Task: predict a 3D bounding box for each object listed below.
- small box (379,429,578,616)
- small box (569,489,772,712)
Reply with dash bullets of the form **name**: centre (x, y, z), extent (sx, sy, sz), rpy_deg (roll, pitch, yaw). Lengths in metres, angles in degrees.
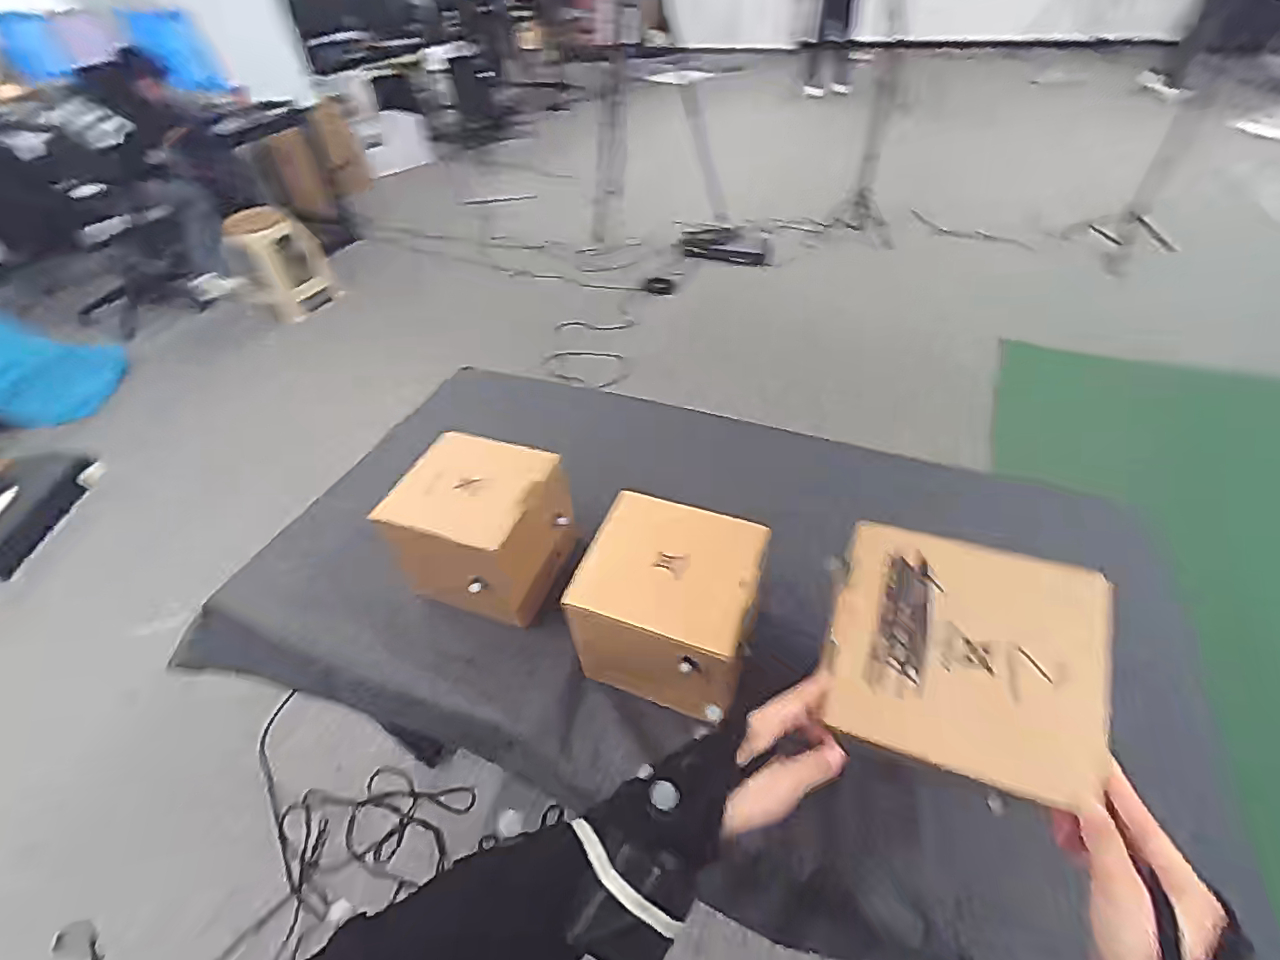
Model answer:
- **small box**: centre (-0.199, 0.059, 0.726), extent (0.179, 0.176, 0.168), rpy_deg (12, 46, 17)
- **small box**: centre (0.040, 0.141, 0.629), extent (0.179, 0.176, 0.168), rpy_deg (15, 48, 17)
